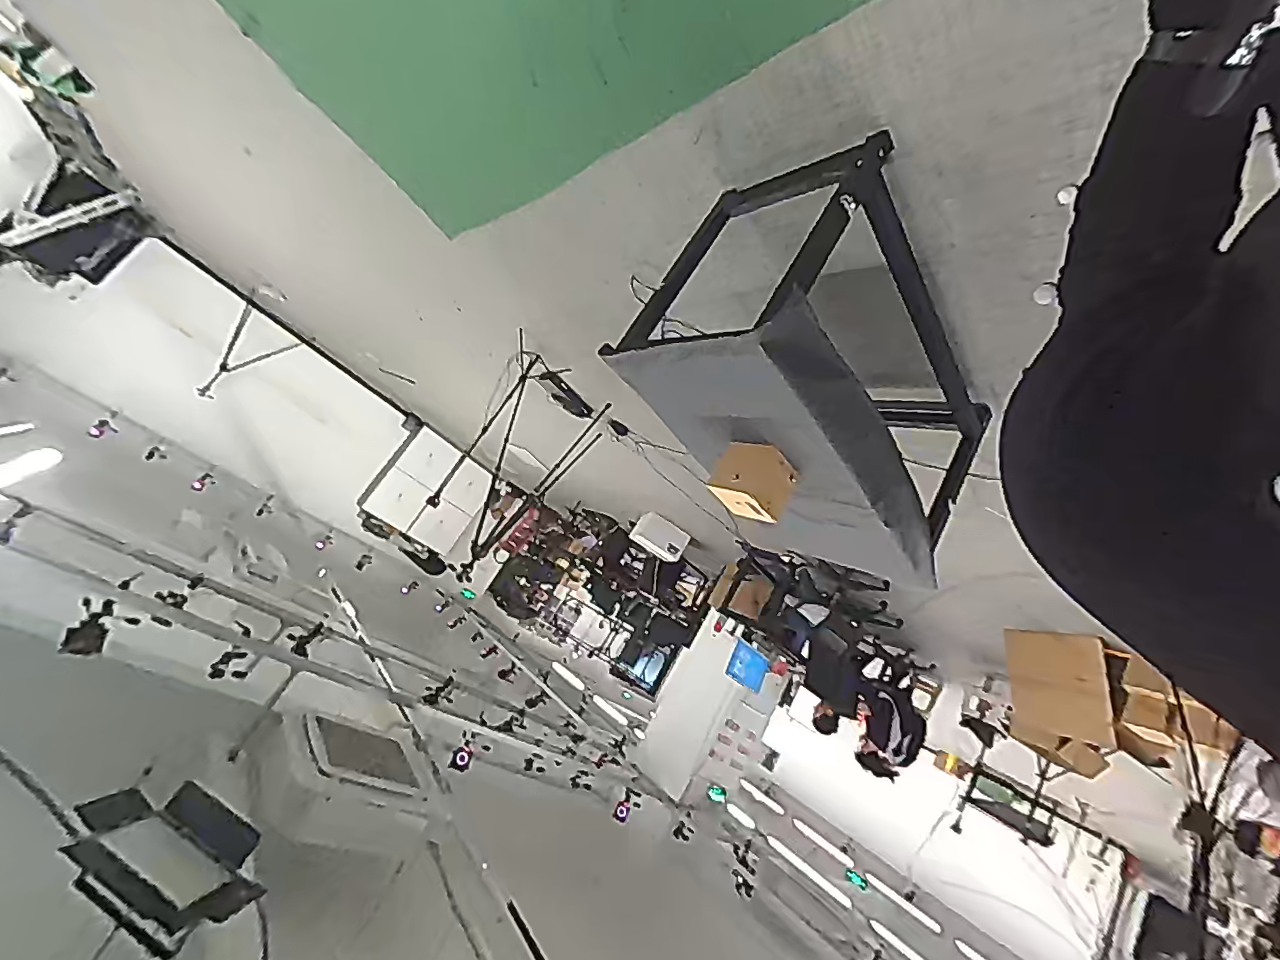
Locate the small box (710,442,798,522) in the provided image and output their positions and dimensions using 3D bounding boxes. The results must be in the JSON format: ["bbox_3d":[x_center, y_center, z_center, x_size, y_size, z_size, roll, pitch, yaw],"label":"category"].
[{"bbox_3d":[0.350,0.001,1.627,0.168,0.176,0.179,42,163,-34],"label":"small box"}]
